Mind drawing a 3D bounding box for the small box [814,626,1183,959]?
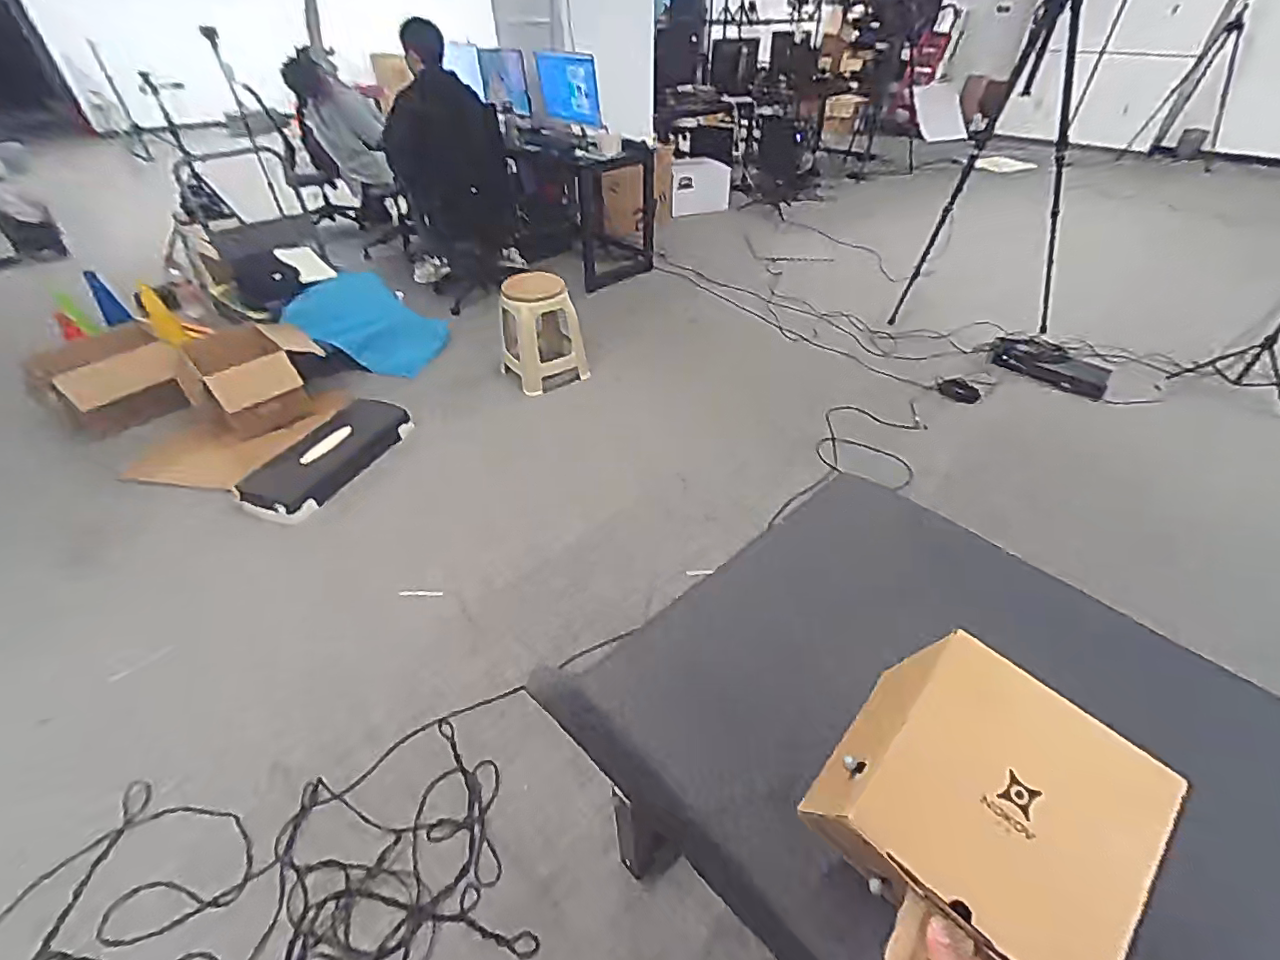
[{"bbox_3d":[0.267,0.256,0.445,0.168,0.176,0.179,36,68,21],"label":"small box"}]
